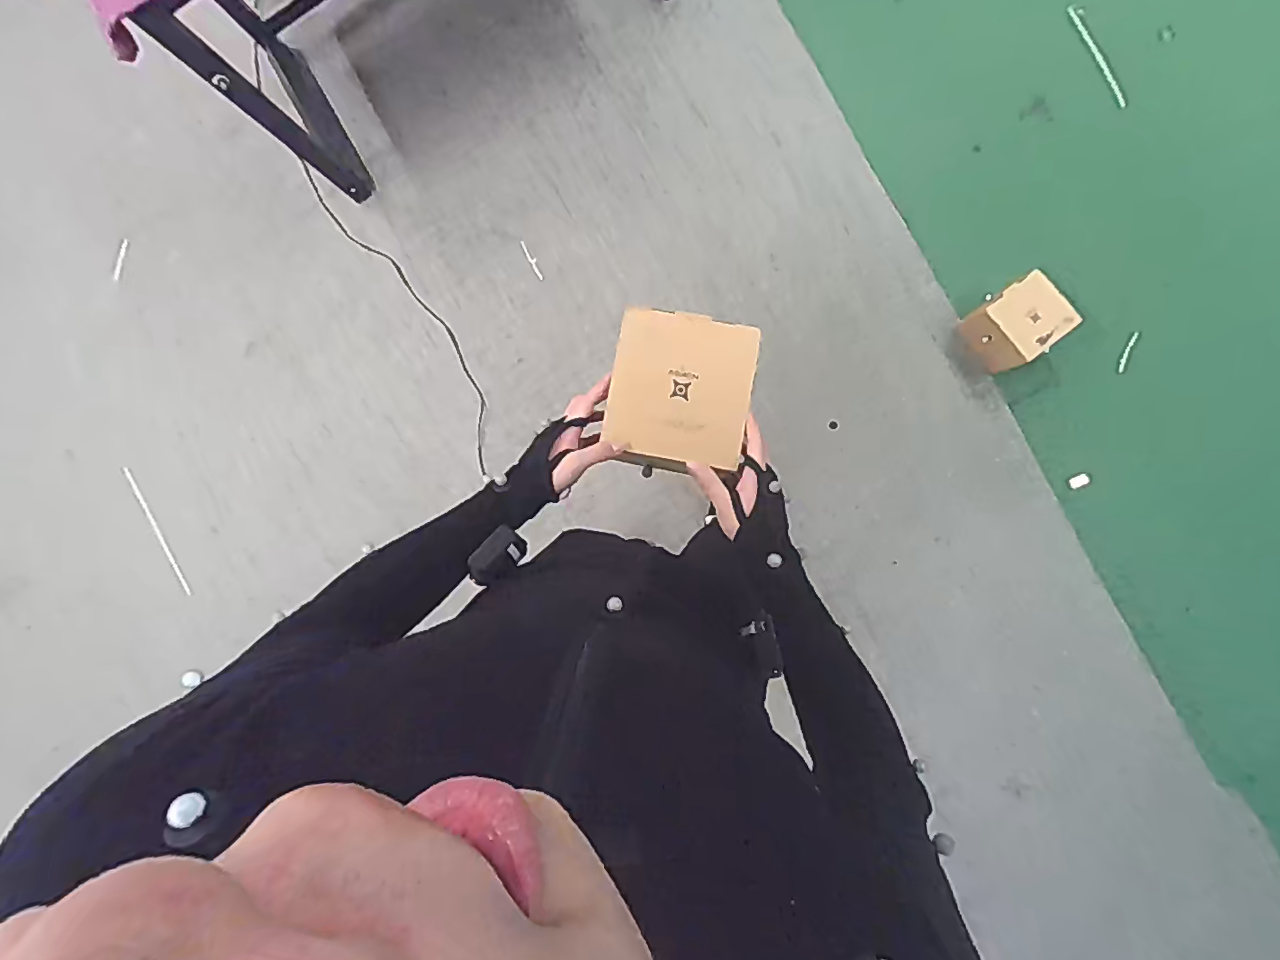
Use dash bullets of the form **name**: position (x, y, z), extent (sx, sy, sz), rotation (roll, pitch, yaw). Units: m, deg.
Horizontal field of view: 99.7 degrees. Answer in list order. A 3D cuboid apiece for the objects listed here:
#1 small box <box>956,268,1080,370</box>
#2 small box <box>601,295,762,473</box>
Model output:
- **small box**: position (0.987, -0.416, 1.433), extent (0.168, 0.176, 0.179), rotation (-39, 86, 5)
- **small box**: position (0.047, -0.112, 0.705), extent (0.168, 0.176, 0.179), rotation (10, 87, 0)
